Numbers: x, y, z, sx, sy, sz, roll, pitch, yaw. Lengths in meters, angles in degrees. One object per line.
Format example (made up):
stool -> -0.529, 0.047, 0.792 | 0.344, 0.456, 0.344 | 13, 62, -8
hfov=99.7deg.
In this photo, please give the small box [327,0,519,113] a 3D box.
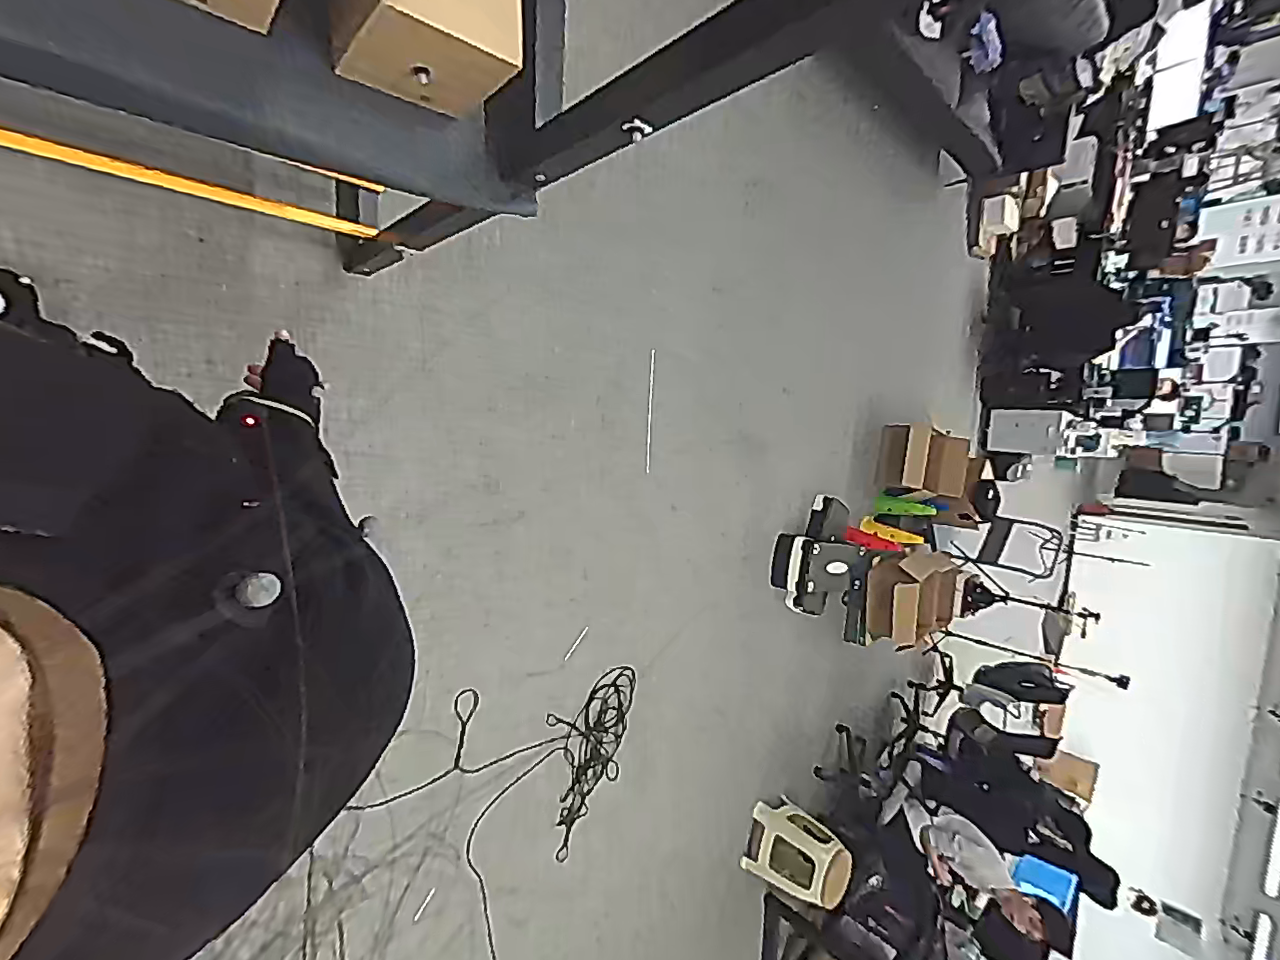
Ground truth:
small box -> -0.260, -0.583, 0.646 | 0.168, 0.176, 0.179 | -9, 101, -44
